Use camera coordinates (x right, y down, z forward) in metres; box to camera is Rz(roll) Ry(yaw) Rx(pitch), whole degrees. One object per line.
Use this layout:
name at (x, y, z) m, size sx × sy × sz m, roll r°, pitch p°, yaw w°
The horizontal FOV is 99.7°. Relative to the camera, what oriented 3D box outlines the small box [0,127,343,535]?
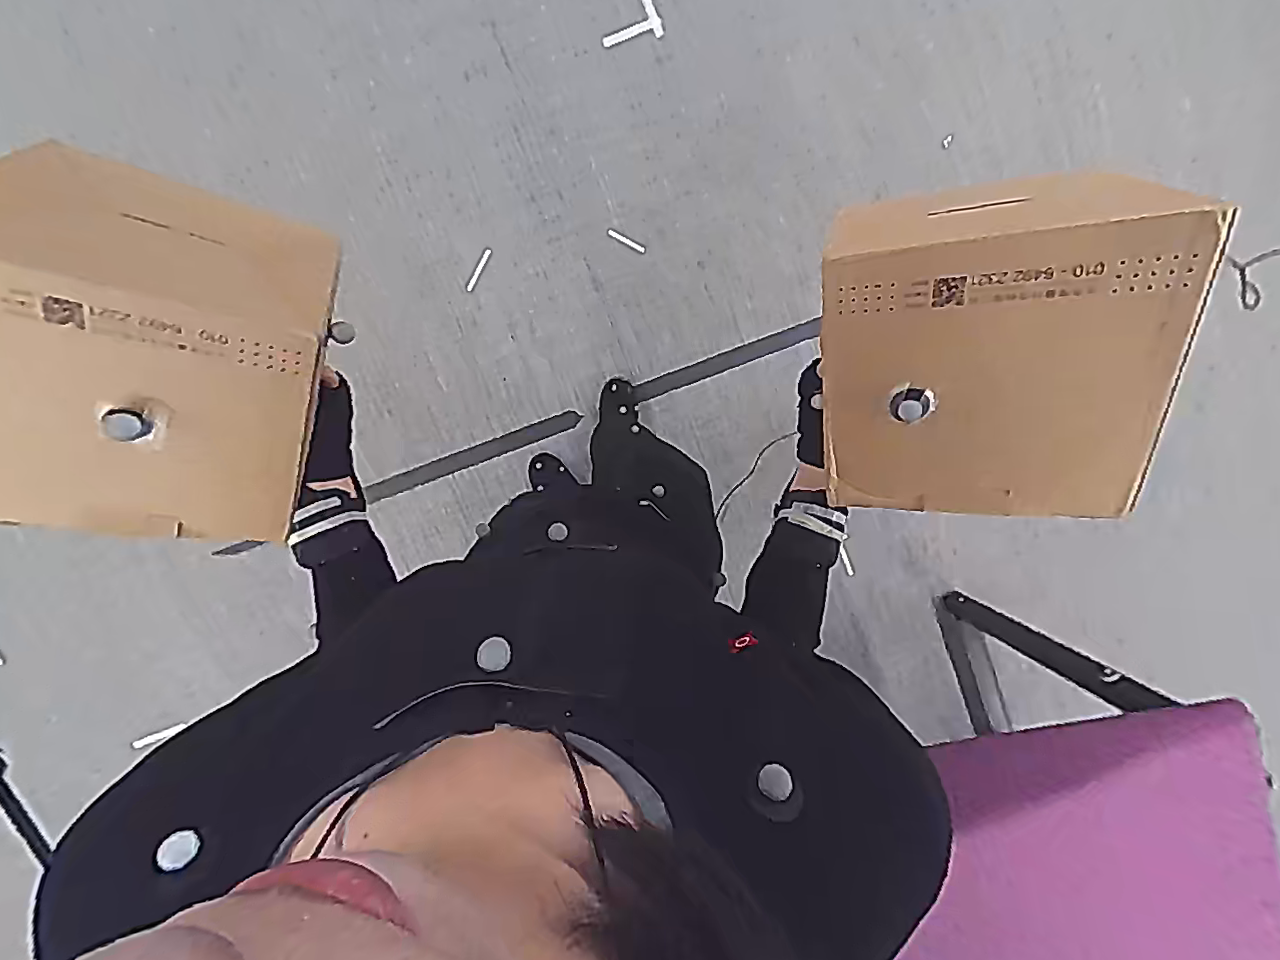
small box at (-0.297, -0.091, 0.342) m, size 0.168 × 0.179 × 0.176 m, roll 11°, pitch 124°, yaw -31°
